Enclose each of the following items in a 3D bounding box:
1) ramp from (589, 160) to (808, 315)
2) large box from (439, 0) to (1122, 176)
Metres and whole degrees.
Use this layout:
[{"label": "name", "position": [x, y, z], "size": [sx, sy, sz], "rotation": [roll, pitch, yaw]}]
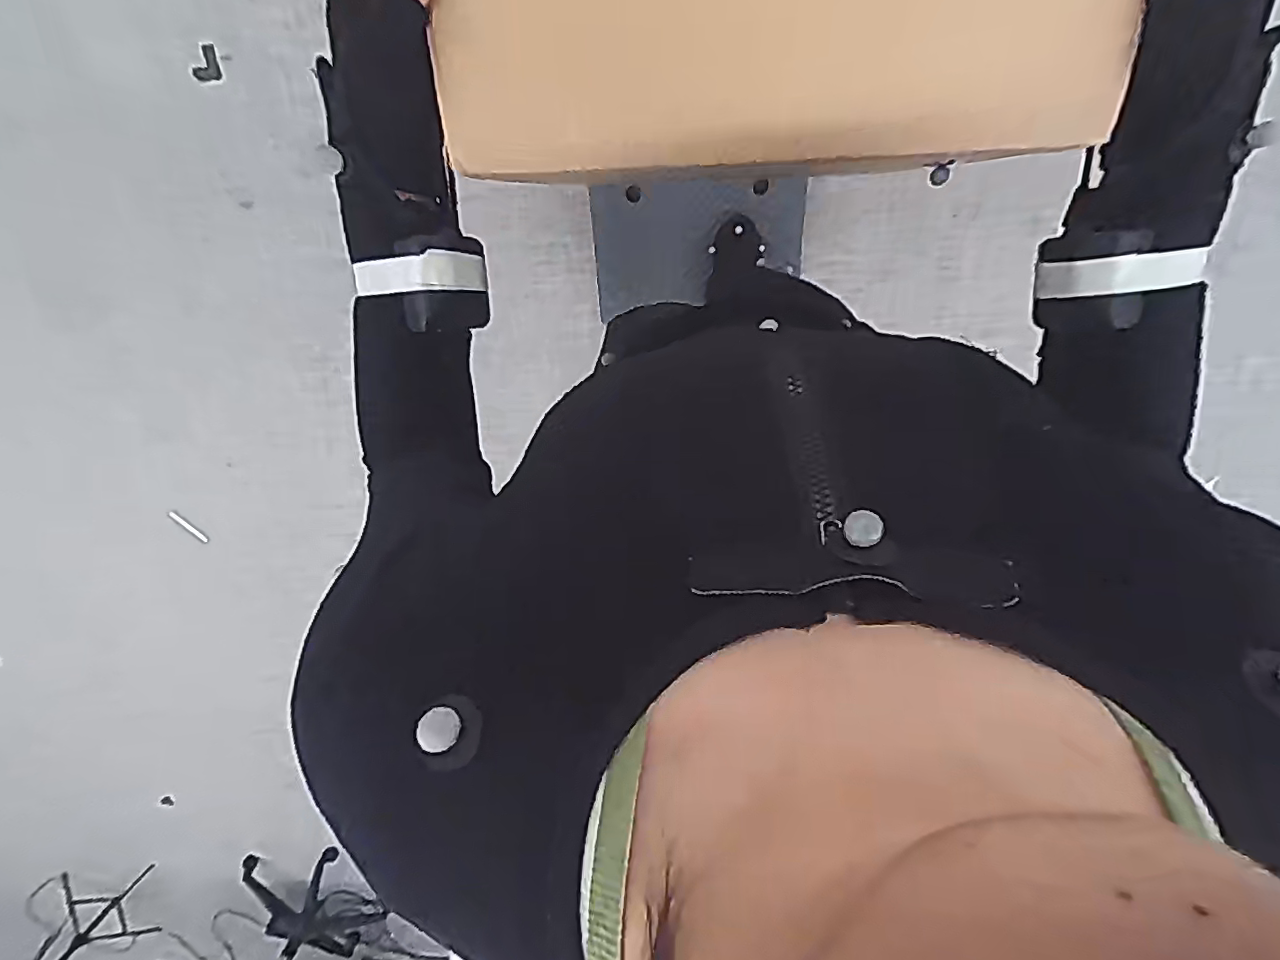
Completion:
[{"label": "ramp", "position": [0.116, -0.851, 1.110], "size": [0.509, 0.206, 0.991], "rotation": [-3, 113, 5]}, {"label": "large box", "position": [0.082, -0.418, 0.409], "size": [0.408, 0.320, 0.320], "rotation": [-1, 117, 3]}]
